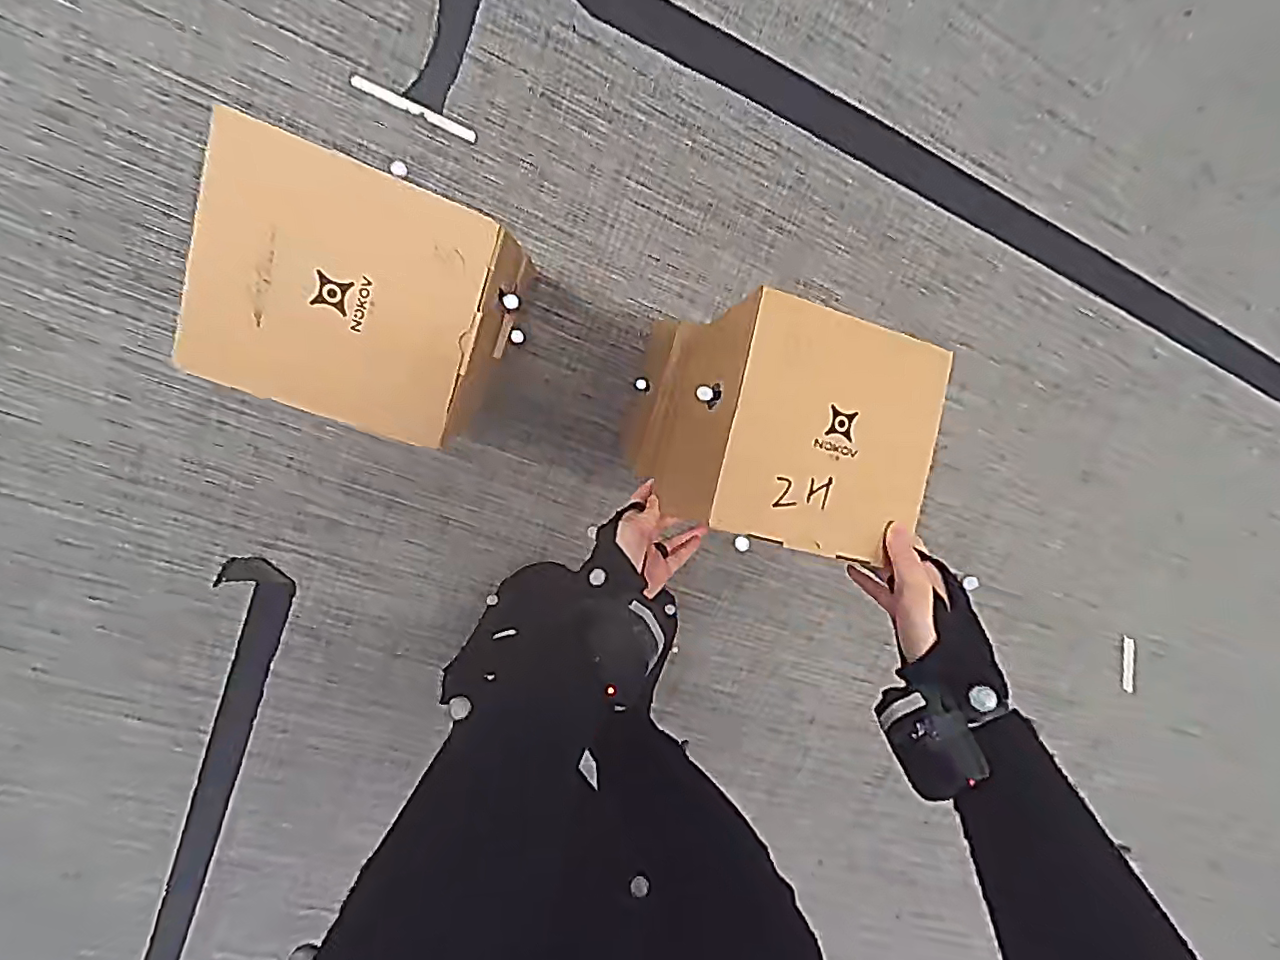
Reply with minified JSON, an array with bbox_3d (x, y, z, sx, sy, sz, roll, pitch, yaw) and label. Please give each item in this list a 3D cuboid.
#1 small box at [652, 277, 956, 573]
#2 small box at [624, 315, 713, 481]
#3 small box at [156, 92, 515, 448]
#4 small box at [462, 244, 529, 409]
[{"bbox_3d":[0.121,-0.037,0.458,0.168,0.176,0.179,15,88,-13],"label":"small box"},{"bbox_3d":[0.083,-0.089,0.649,0.168,0.176,0.179,14,104,-12],"label":"small box"},{"bbox_3d":[-0.206,-0.144,0.416,0.179,0.176,0.168,19,103,-13],"label":"small box"},{"bbox_3d":[-0.226,-0.195,0.570,0.179,0.176,0.168,20,103,-14],"label":"small box"}]
